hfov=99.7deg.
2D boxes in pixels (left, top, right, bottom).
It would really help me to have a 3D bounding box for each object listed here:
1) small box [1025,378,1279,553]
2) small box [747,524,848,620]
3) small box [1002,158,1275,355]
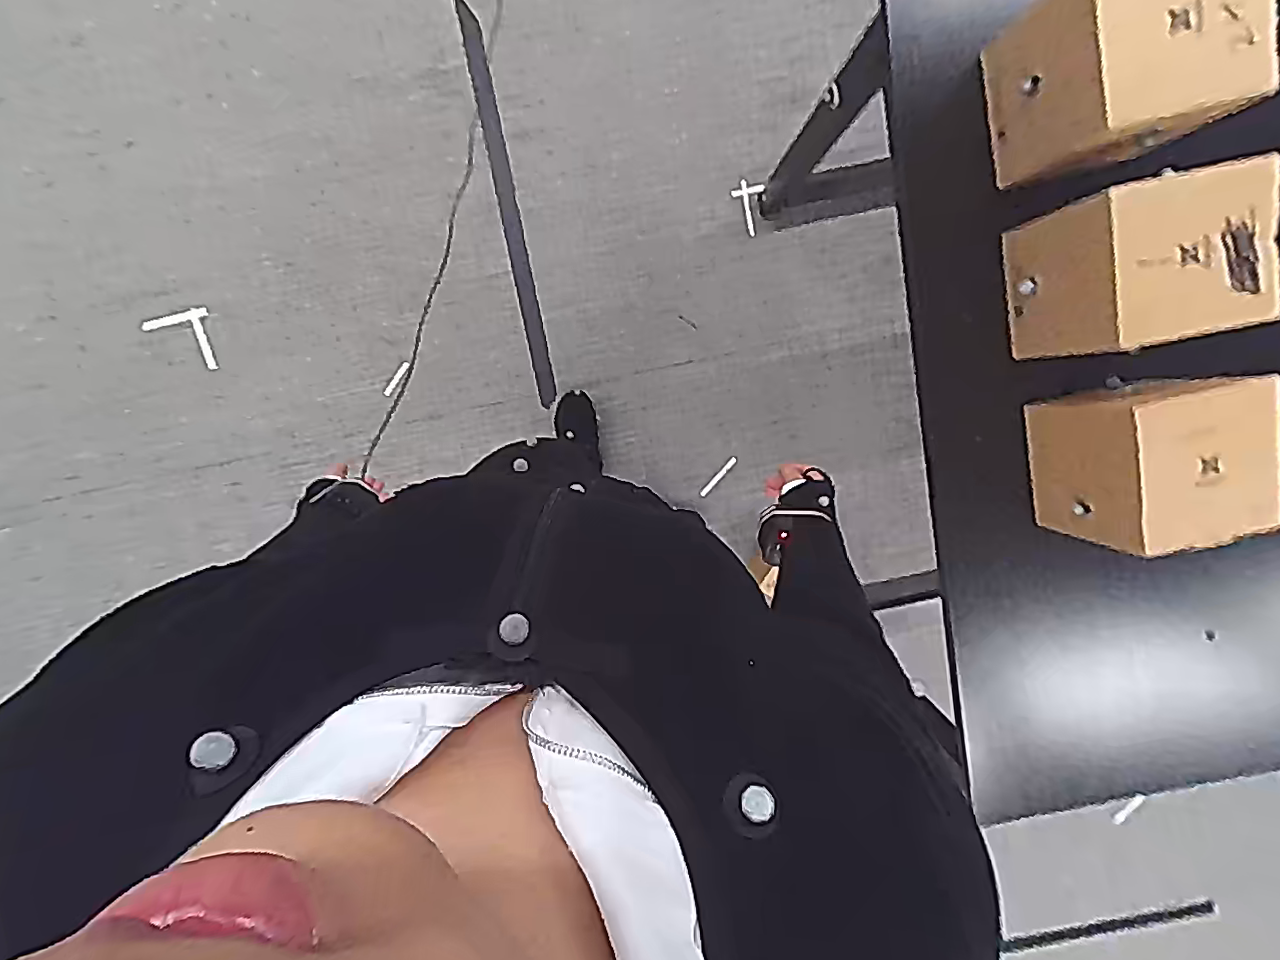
[{"bbox_3d":[0.630,-0.027,0.684,0.168,0.176,0.179,-12,98,0],"label":"small box"},{"bbox_3d":[0.415,0.239,1.457,0.179,0.176,0.168,32,97,-6],"label":"small box"},{"bbox_3d":[0.577,-0.250,0.645,0.179,0.176,0.168,-11,99,1],"label":"small box"}]
